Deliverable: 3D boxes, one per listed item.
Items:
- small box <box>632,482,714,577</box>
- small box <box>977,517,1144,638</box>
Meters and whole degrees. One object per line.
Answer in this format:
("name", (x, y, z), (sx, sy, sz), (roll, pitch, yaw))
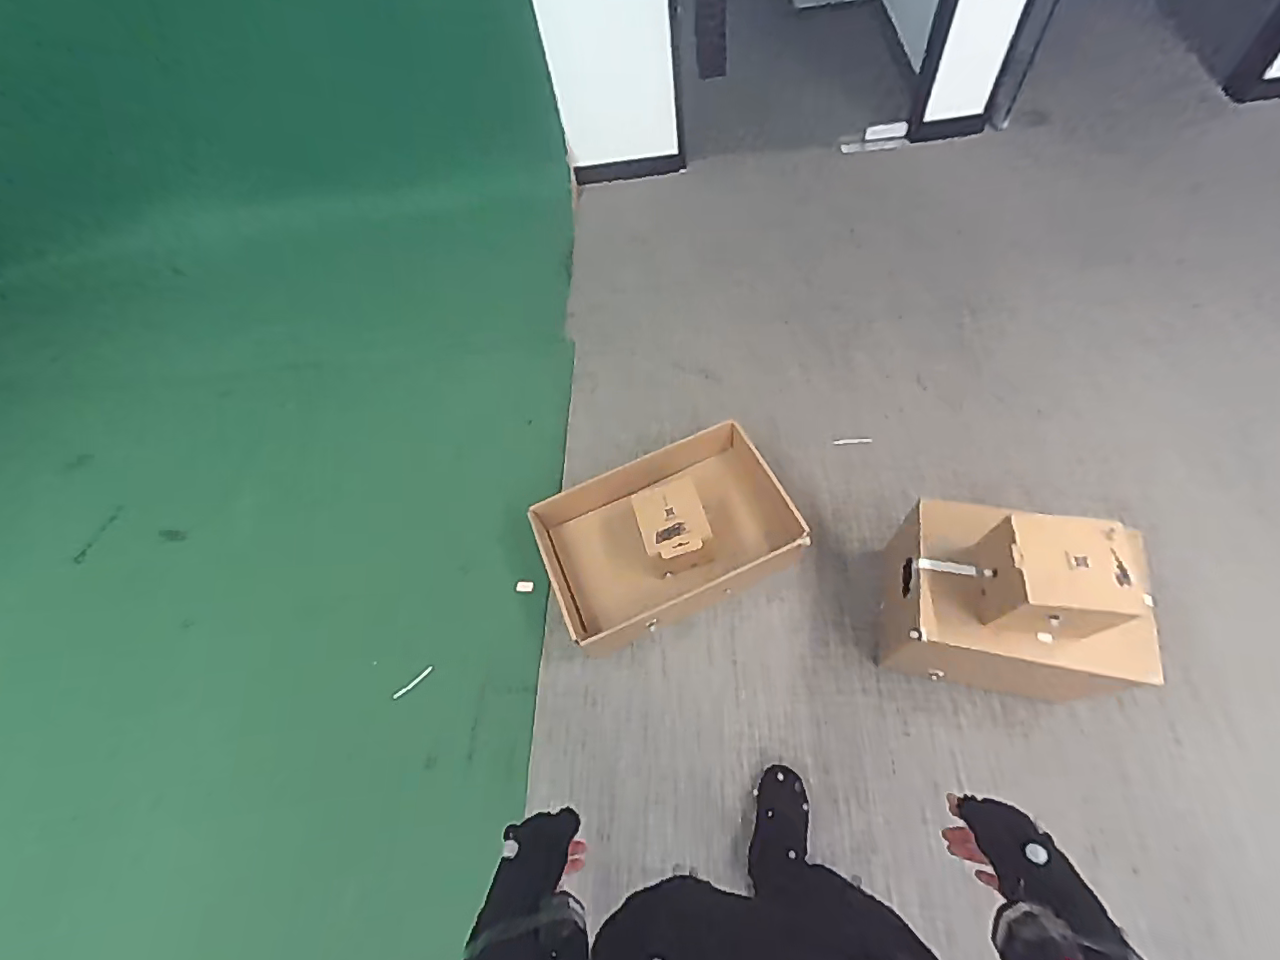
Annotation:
("small box", (0.089, 0.137, 1.399), (0.168, 0.176, 0.179), (-18, 58, 0))
("small box", (0.732, 0.178, 0.971), (0.179, 0.176, 0.168), (3, 62, 11))
